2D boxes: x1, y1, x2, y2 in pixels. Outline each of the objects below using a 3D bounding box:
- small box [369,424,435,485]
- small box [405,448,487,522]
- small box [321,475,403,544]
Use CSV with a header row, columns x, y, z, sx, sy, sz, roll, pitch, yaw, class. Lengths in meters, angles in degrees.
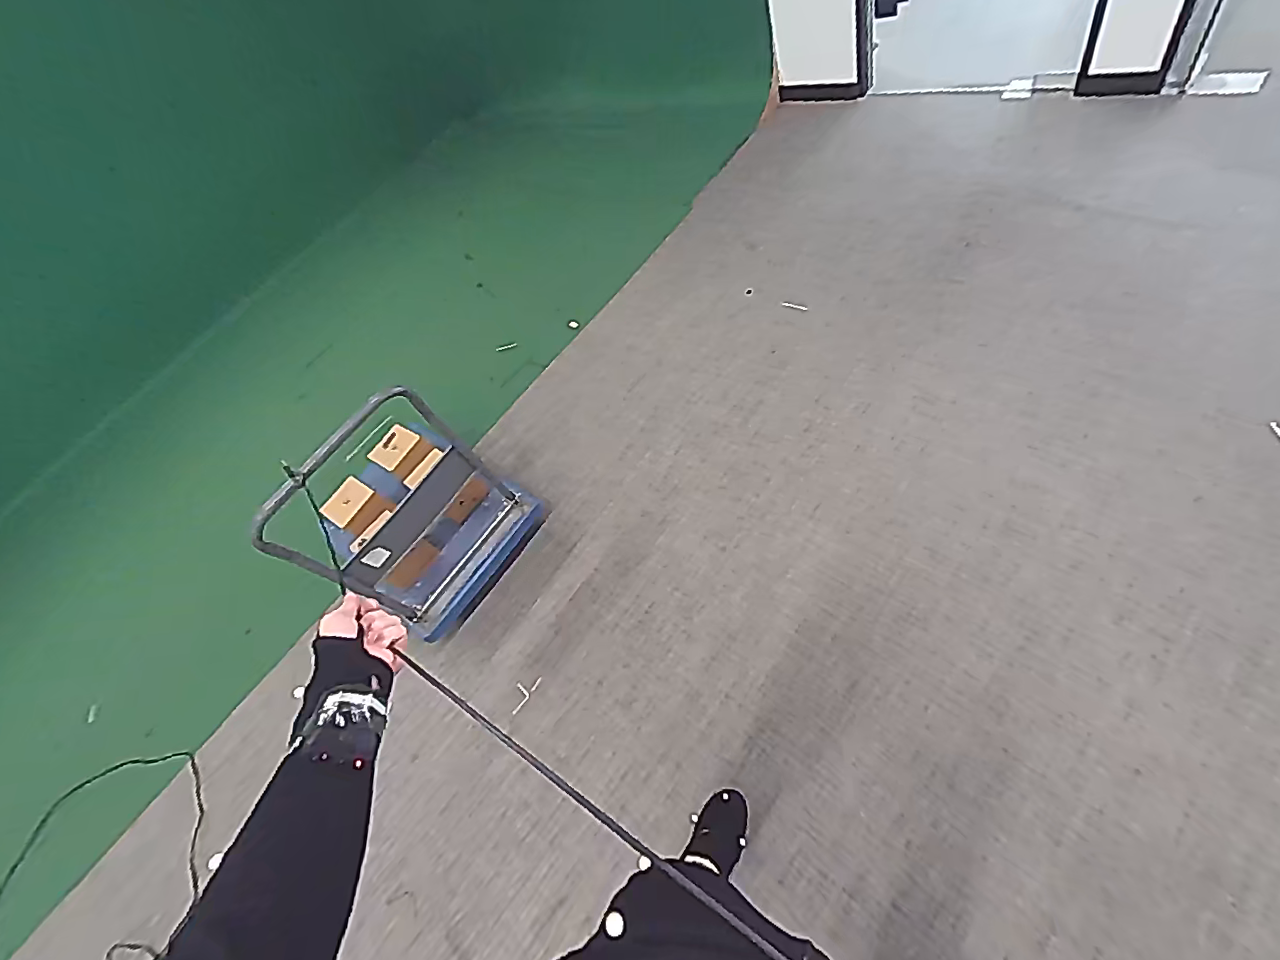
x,y,z,sx,sy,sz,roll,pitch,yaw,class
-0.881,-0.083,2.062,0.179,0.176,0.168,24,71,32,small box
-0.683,0.021,1.911,0.179,0.176,0.168,29,73,34,small box
-1.017,0.116,1.989,0.179,0.176,0.168,24,69,33,small box
